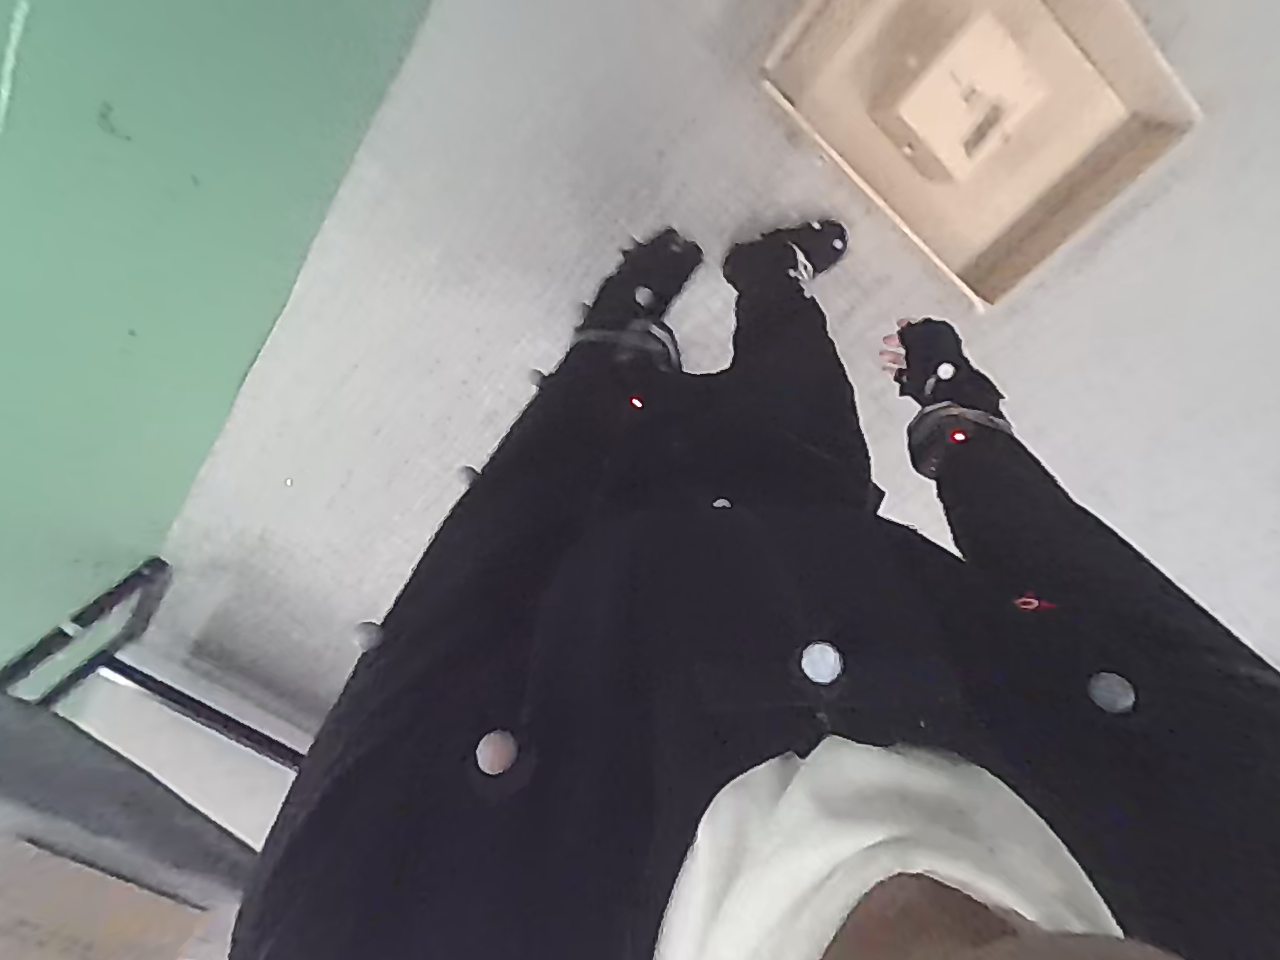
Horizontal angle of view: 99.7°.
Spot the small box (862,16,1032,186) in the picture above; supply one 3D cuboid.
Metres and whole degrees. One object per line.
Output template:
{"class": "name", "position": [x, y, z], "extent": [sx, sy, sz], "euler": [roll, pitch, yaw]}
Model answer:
{"class": "small box", "position": [0.528, -0.656, 0.956], "extent": [0.179, 0.176, 0.168], "euler": [38, 116, -14]}
